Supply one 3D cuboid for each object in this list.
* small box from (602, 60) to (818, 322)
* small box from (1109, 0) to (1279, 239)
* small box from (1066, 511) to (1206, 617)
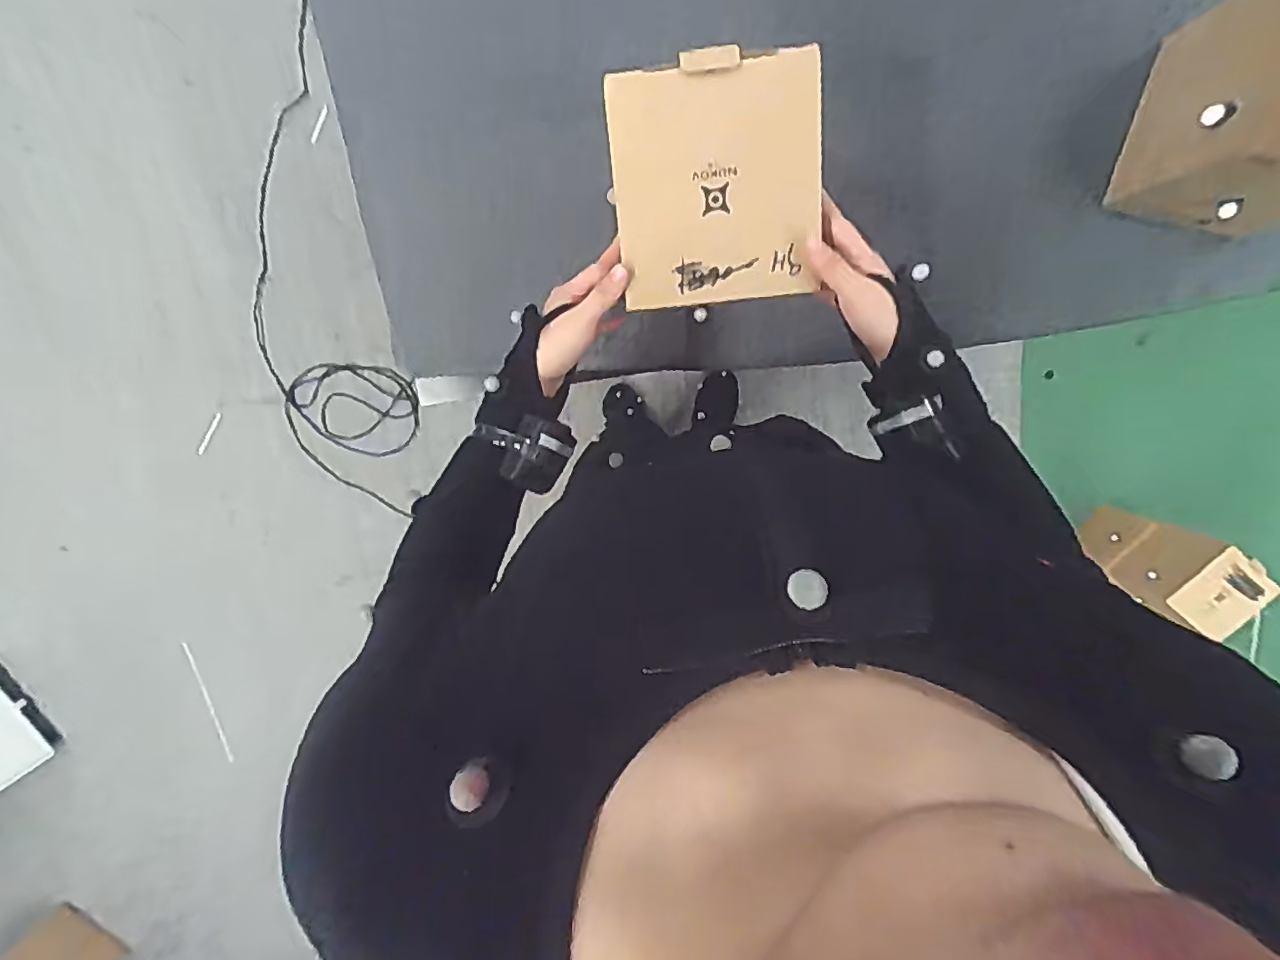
[{"bbox_3d":[0.062,-0.244,0.504,0.168,0.176,0.179,-4,107,6],"label":"small box"},{"bbox_3d":[0.625,-0.356,0.531,0.168,0.176,0.179,13,102,0],"label":"small box"},{"bbox_3d":[1.252,0.209,1.387,0.168,0.176,0.179,38,102,-5],"label":"small box"}]
